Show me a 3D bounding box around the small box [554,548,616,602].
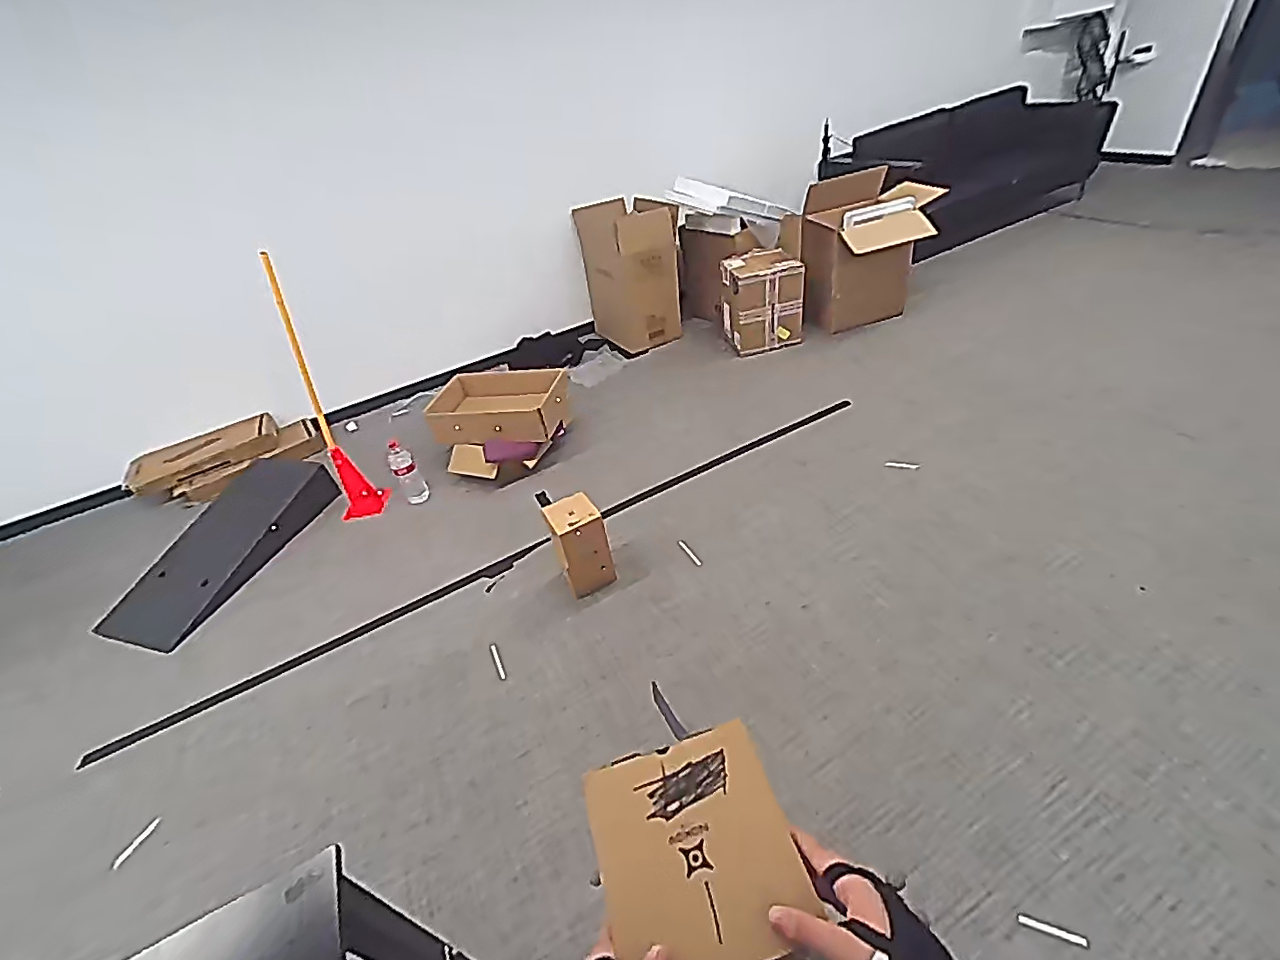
[{"bbox_3d":[-0.204,0.325,2.048,0.179,0.176,0.168,-25,38,-16],"label":"small box"}]

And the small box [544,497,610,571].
[{"bbox_3d":[-0.227,0.196,1.950,0.168,0.176,0.179,-25,38,-18],"label":"small box"}]

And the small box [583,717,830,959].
[{"bbox_3d":[0.053,0.367,0.516,0.168,0.176,0.179,-16,44,-8],"label":"small box"}]
